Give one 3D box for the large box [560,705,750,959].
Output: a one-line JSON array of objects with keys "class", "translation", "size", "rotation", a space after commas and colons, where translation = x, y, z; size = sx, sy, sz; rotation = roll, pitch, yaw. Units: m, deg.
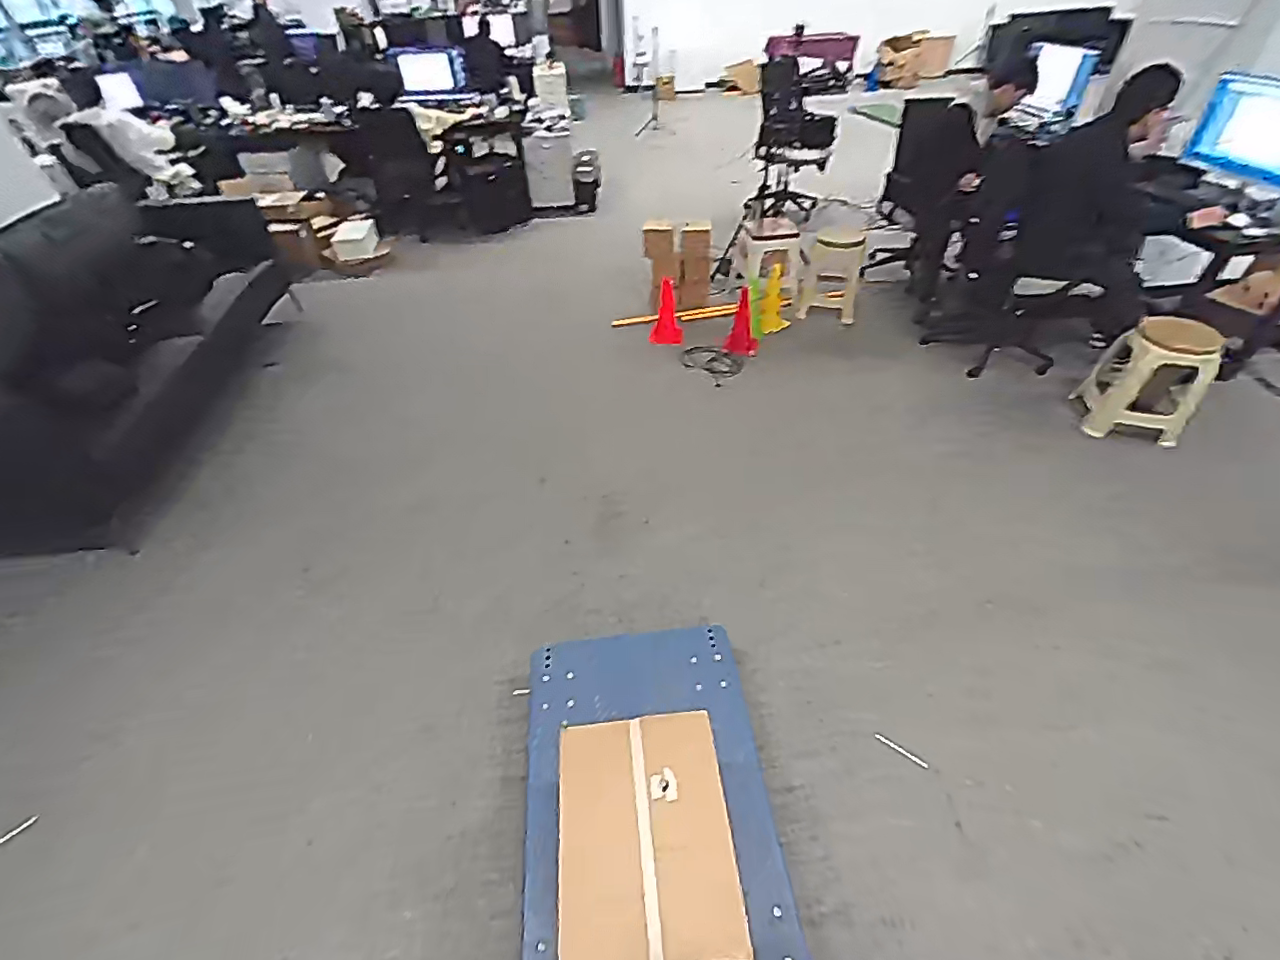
[{"class": "large box", "translation": [0.014, 0.742, 1.107], "size": [0.320, 0.320, 0.408], "rotation": [-5, 43, -3]}]
